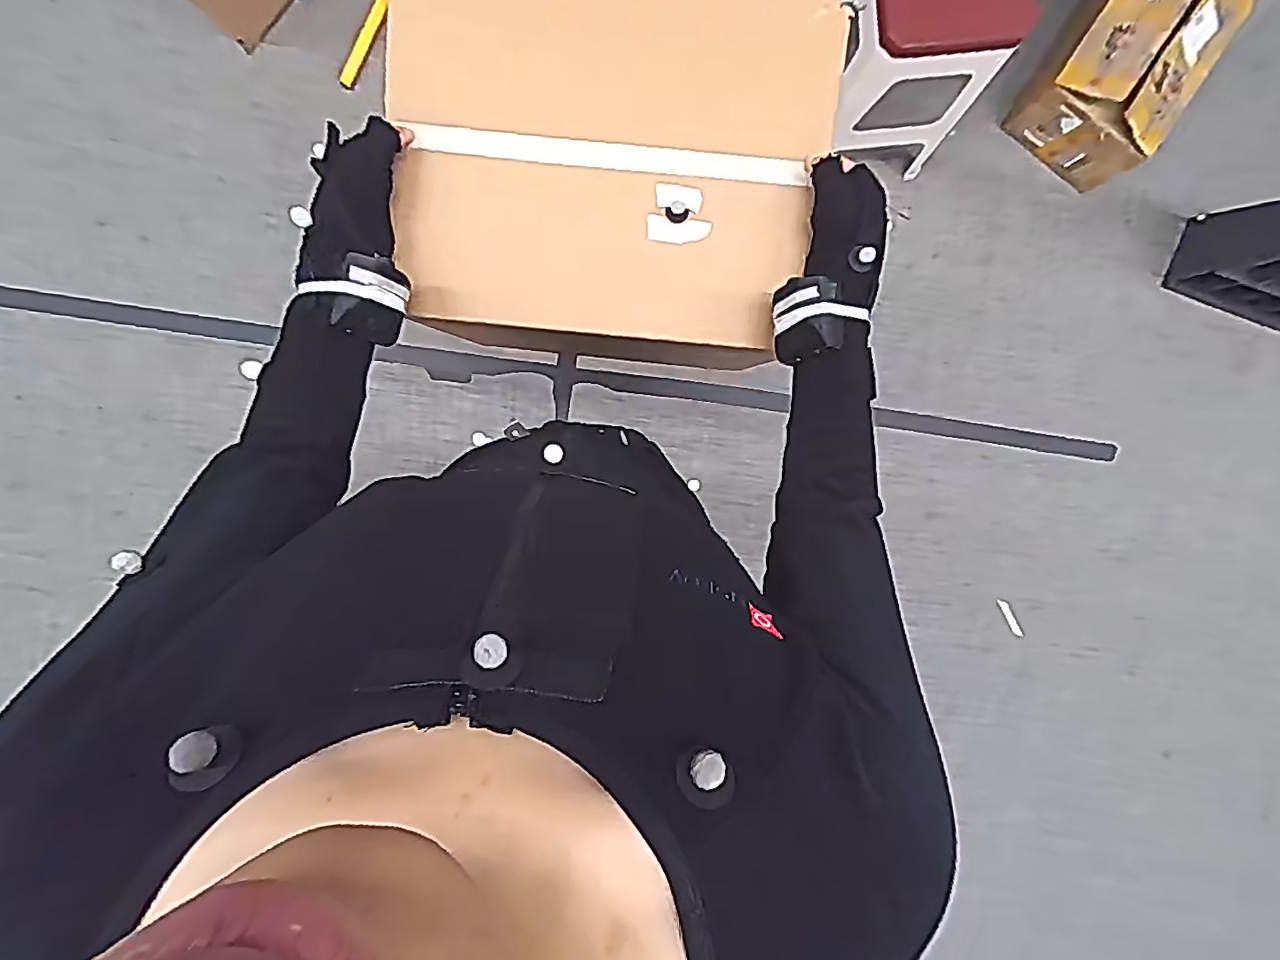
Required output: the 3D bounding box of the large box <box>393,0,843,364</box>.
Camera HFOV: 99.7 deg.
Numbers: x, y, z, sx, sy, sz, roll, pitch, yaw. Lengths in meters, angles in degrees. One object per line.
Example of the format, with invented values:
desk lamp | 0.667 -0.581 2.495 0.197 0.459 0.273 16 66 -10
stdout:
large box | -0.030 -0.320 0.646 0.408 0.320 0.320 5 98 -2
